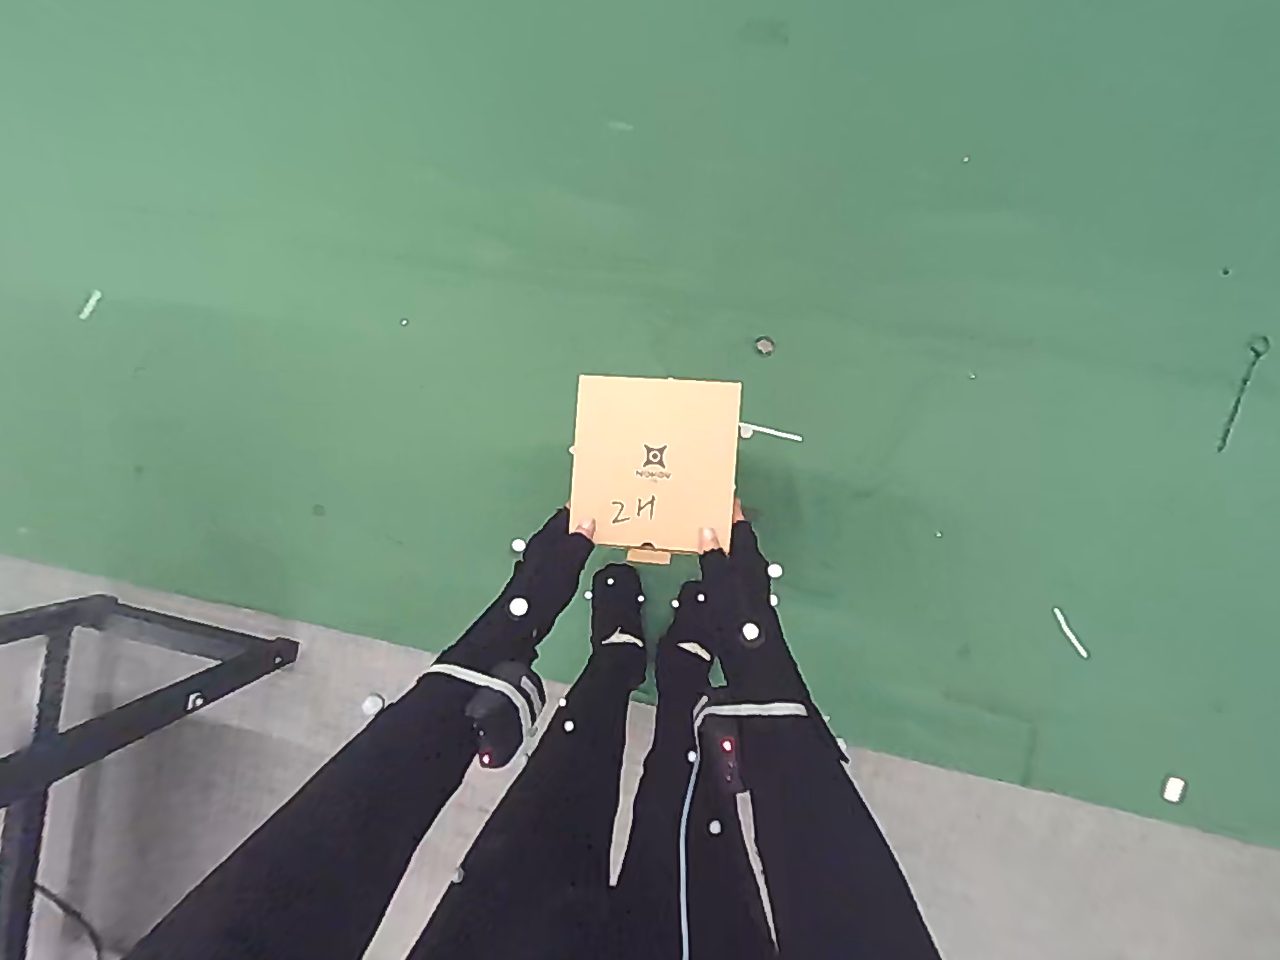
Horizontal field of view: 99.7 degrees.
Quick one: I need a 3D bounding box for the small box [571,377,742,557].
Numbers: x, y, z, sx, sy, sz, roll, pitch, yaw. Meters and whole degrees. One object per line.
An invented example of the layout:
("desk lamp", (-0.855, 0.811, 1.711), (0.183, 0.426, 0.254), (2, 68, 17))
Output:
("small box", (0.024, -0.014, 0.629), (0.168, 0.176, 0.179), (4, 90, 7))
